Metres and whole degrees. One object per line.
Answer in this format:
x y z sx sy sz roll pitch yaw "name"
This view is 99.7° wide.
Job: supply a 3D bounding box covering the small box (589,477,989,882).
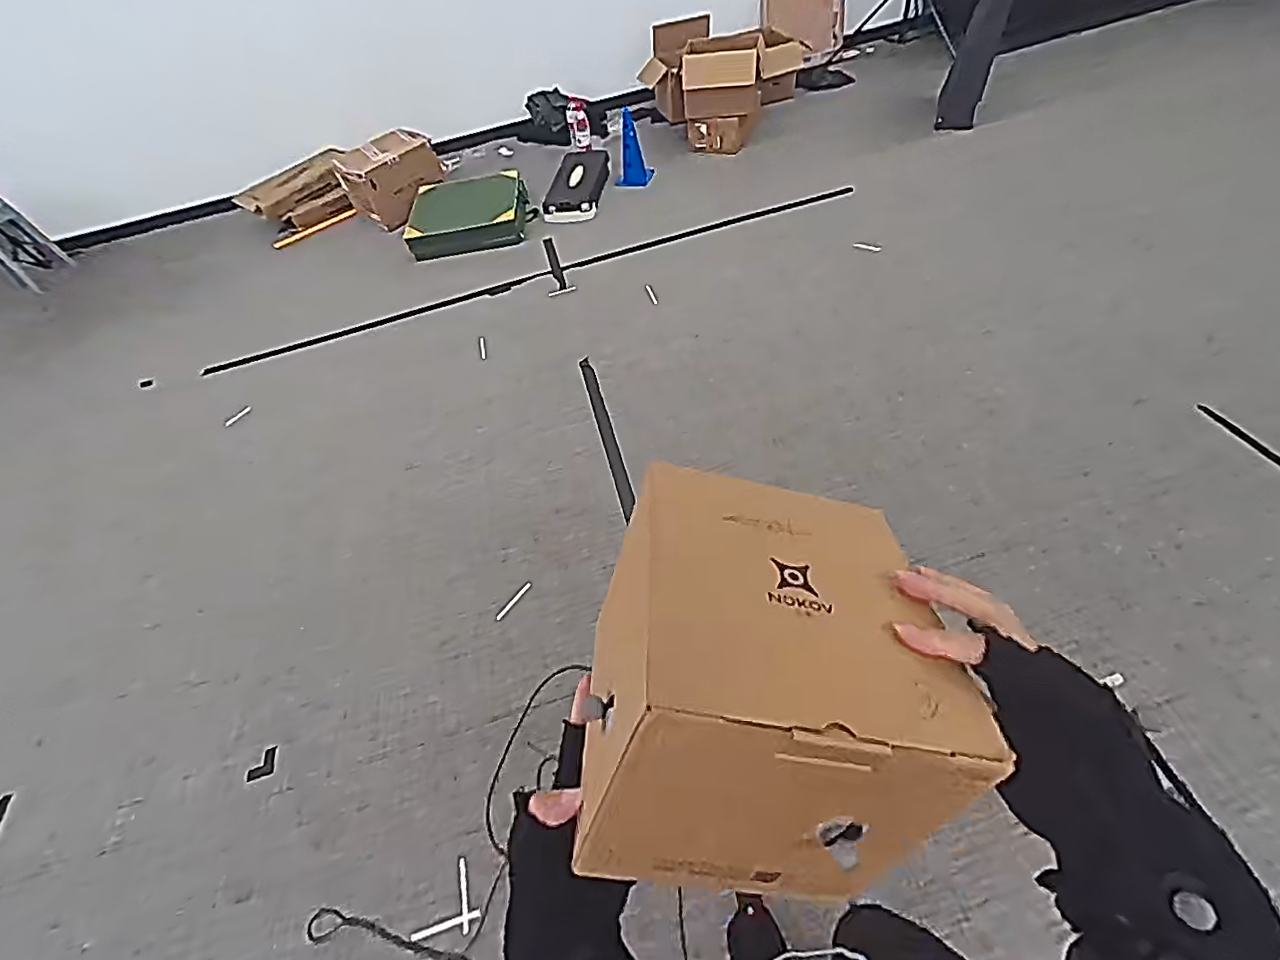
0.065 0.127 0.349 0.168 0.176 0.179 11 35 -7 "small box"
